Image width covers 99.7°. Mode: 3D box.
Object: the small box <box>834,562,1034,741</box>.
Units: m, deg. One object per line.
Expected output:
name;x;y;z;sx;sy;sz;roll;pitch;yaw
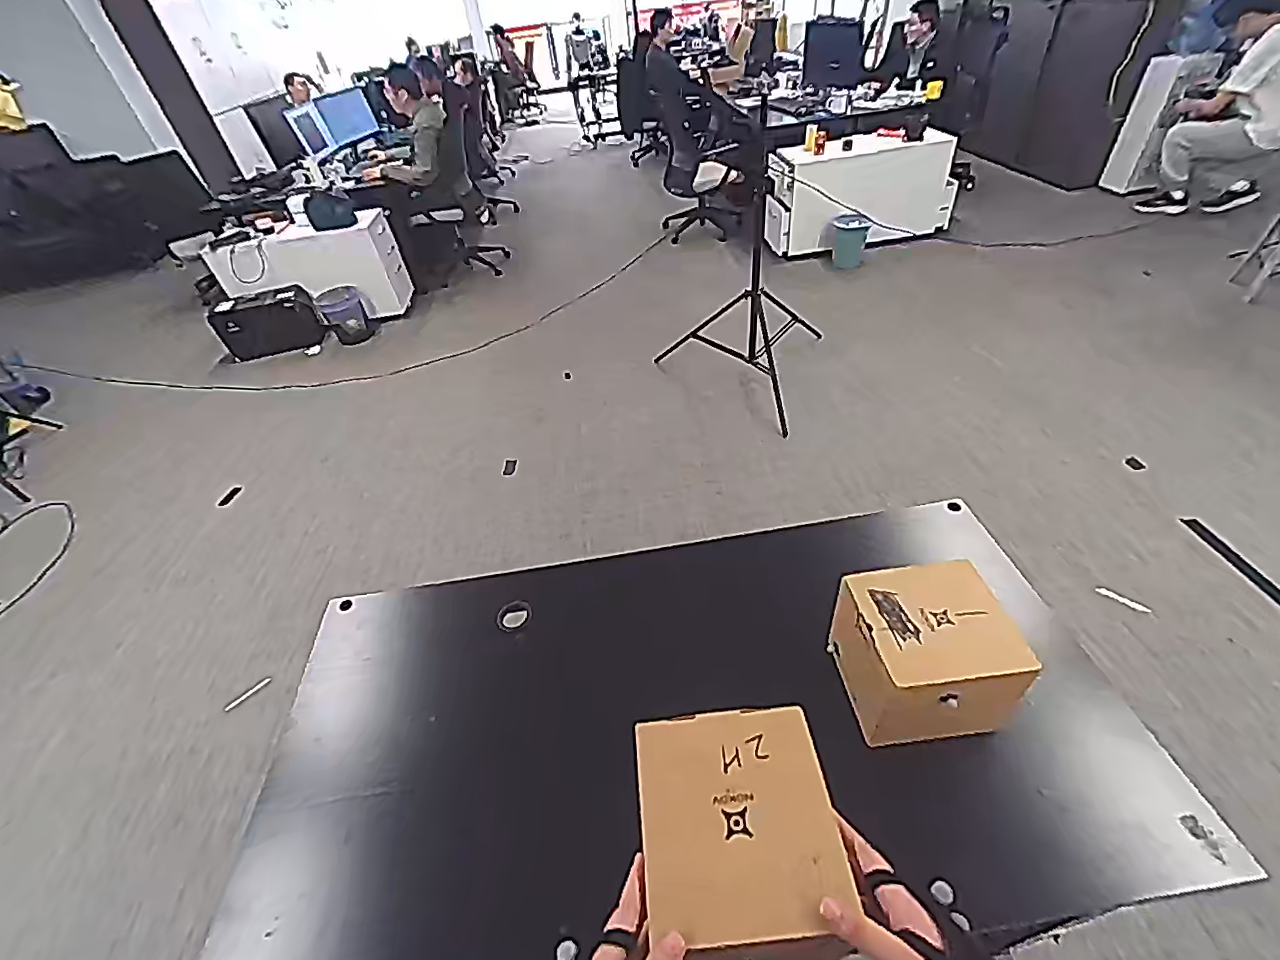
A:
small box;0.379;0.238;0.742;0.179;0.176;0.168;-7;42;1

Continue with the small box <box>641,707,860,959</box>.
small box;0.092;0.350;0.526;0.168;0.176;0.179;-5;40;0
